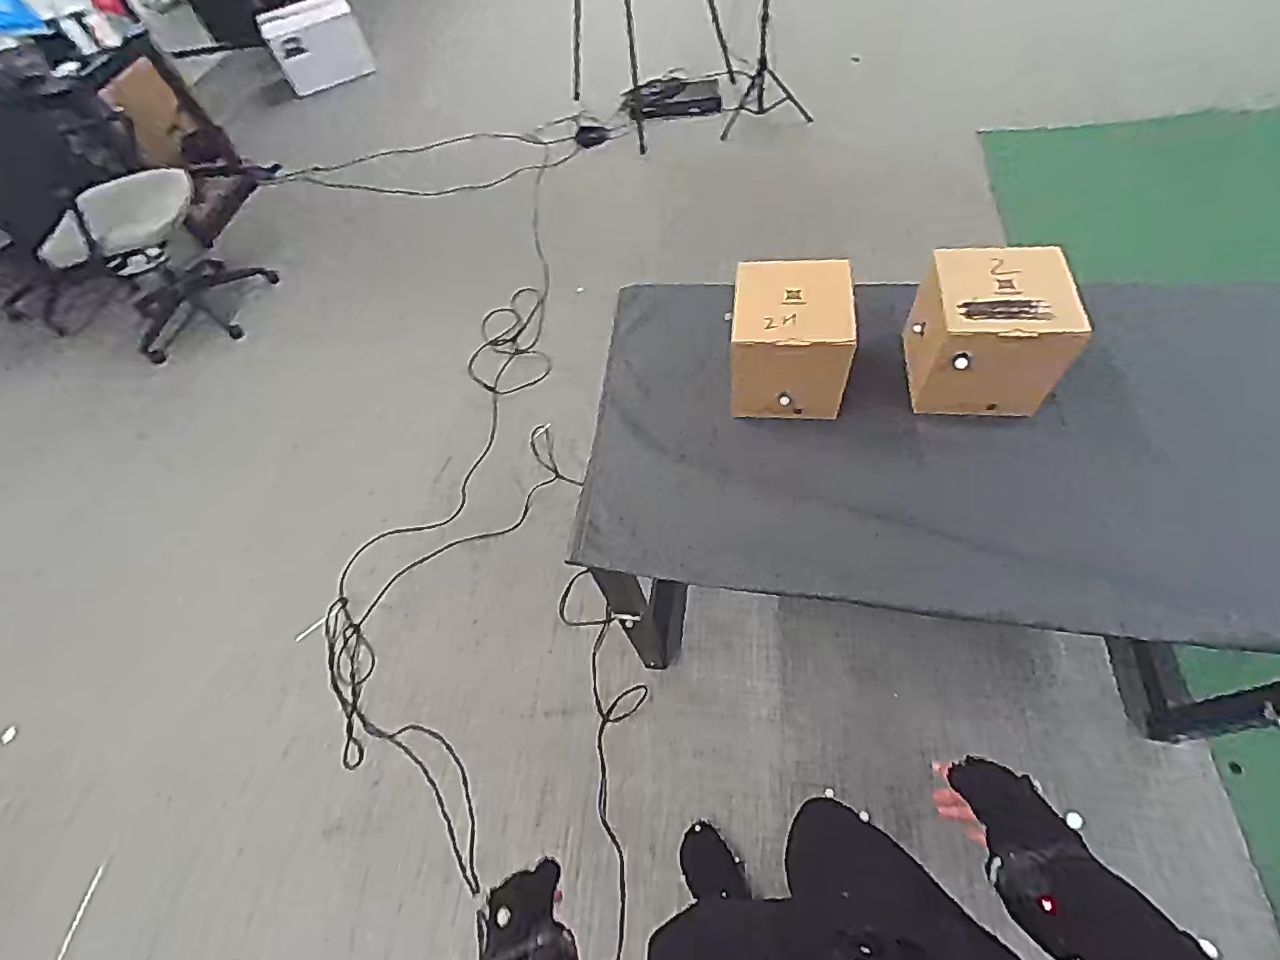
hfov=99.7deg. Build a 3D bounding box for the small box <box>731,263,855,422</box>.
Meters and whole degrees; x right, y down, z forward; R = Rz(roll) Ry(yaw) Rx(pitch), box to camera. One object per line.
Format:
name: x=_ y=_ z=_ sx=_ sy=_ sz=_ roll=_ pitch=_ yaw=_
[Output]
small box: x=0.231 y=-0.212 z=0.844 sx=0.168 sy=0.176 sz=0.179 roll=3 pitch=59 yaw=11
